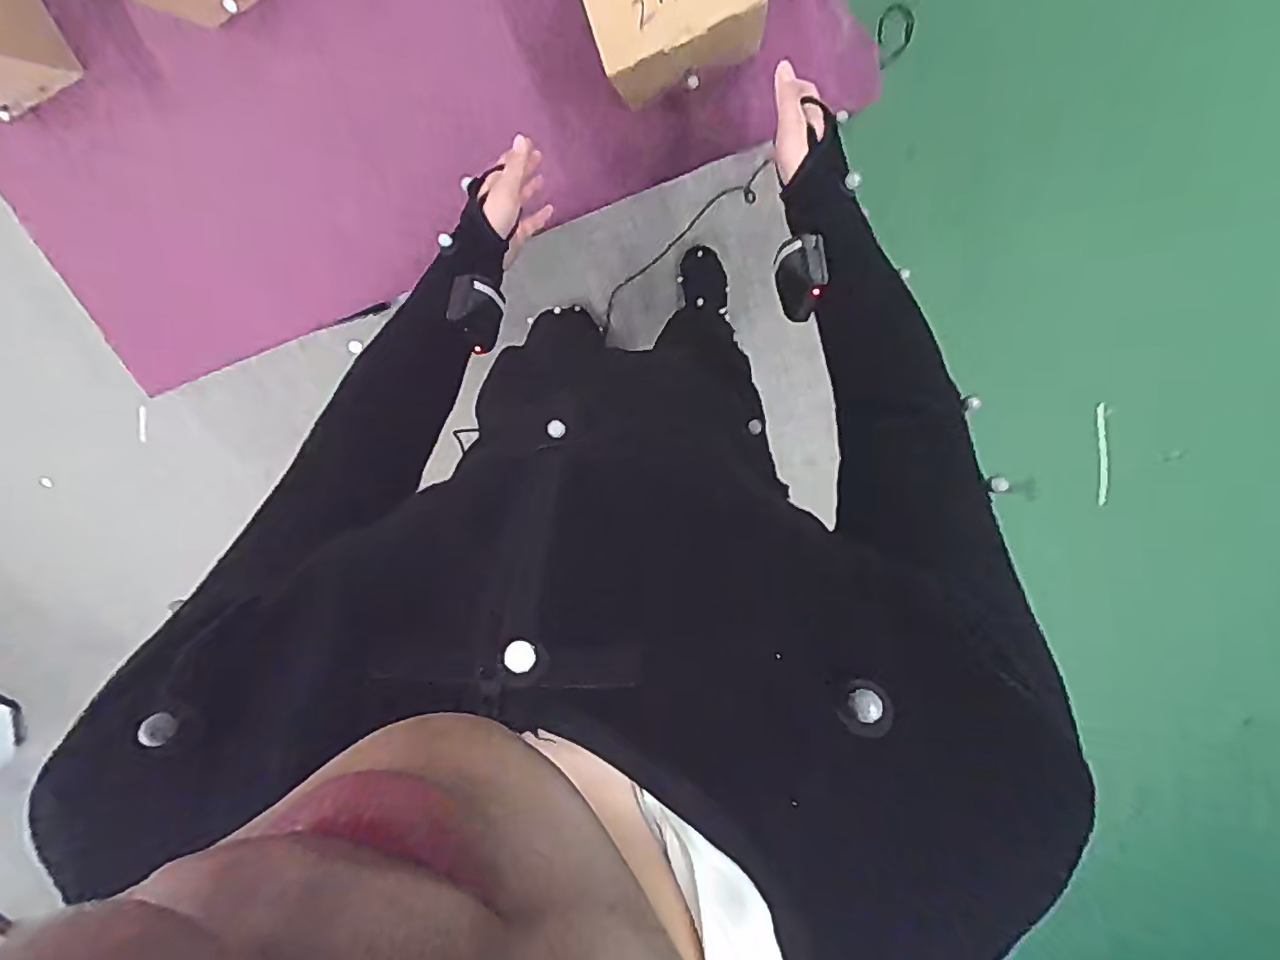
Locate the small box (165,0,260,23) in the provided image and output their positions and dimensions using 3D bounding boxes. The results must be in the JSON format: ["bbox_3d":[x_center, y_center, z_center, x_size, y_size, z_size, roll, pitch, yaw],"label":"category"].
[{"bbox_3d":[-0.524,-0.657,0.589,0.168,0.176,0.179,-15,112,14],"label":"small box"}]

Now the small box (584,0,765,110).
[{"bbox_3d":[0.028,-0.532,0.571,0.168,0.176,0.179,-14,111,16],"label":"small box"}]

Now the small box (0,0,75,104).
[{"bbox_3d":[-0.879,-0.589,0.661,0.168,0.176,0.179,-14,113,12],"label":"small box"}]

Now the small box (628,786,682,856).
[{"bbox_3d":[0.066,1.386,2.198,0.168,0.176,0.179,-17,110,14],"label":"small box"}]
